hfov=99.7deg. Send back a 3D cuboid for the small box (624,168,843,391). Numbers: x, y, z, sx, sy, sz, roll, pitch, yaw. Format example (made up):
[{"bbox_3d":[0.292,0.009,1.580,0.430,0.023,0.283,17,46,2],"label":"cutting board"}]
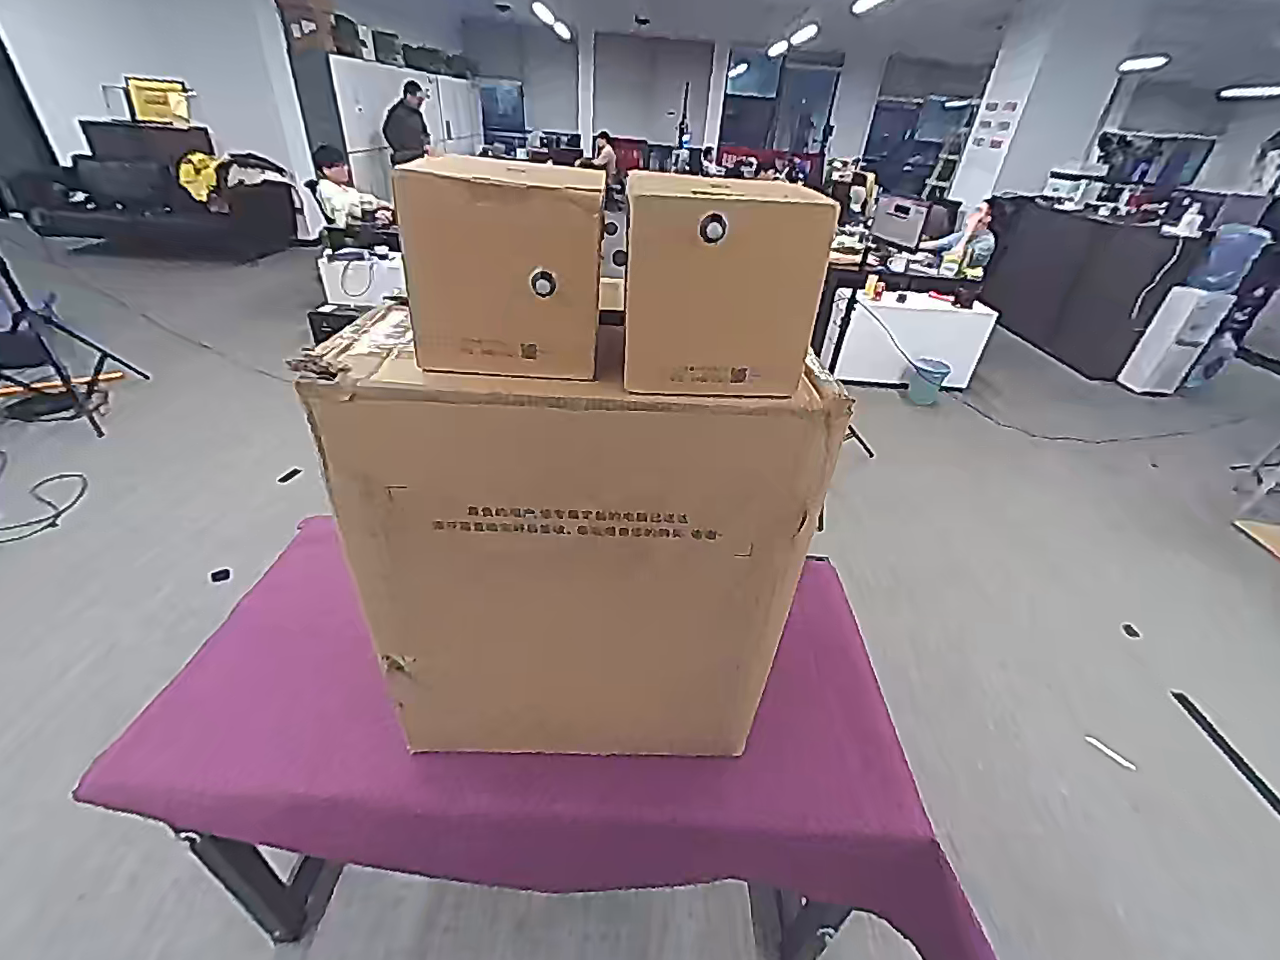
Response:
[{"bbox_3d":[0.070,-0.201,0.530,0.168,0.176,0.179,1,33,-4],"label":"small box"}]

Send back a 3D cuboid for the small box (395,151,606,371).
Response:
[{"bbox_3d":[-0.121,-0.218,0.537,0.168,0.176,0.179,4,32,-6],"label":"small box"}]
